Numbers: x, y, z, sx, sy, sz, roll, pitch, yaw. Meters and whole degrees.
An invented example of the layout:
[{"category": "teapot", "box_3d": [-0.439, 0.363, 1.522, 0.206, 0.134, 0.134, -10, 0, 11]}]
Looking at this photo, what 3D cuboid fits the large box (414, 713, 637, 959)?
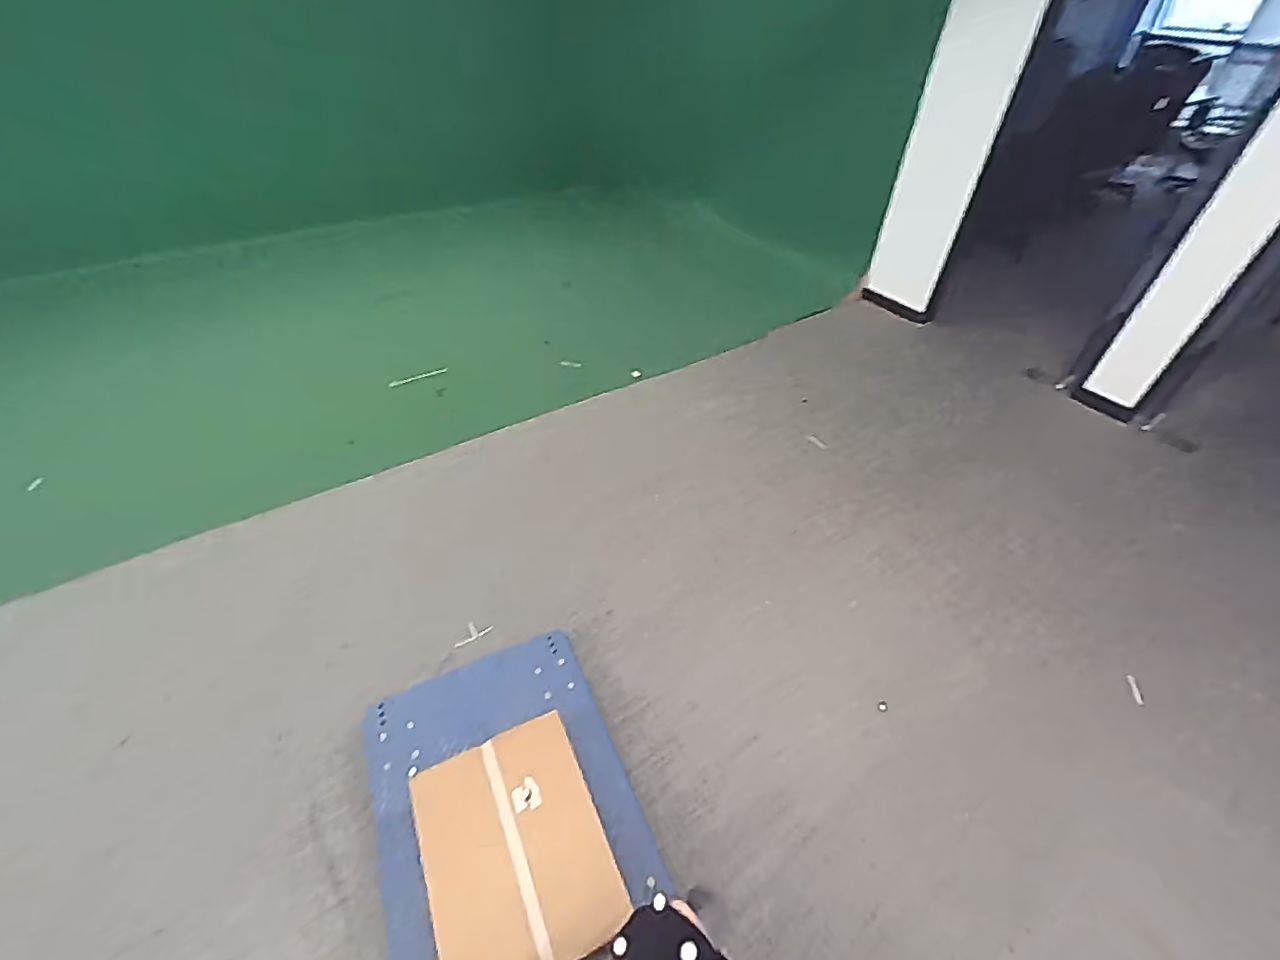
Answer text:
[{"category": "large box", "box_3d": [-0.228, 0.782, 1.104, 0.320, 0.320, 0.408, -18, 46, -19]}]
